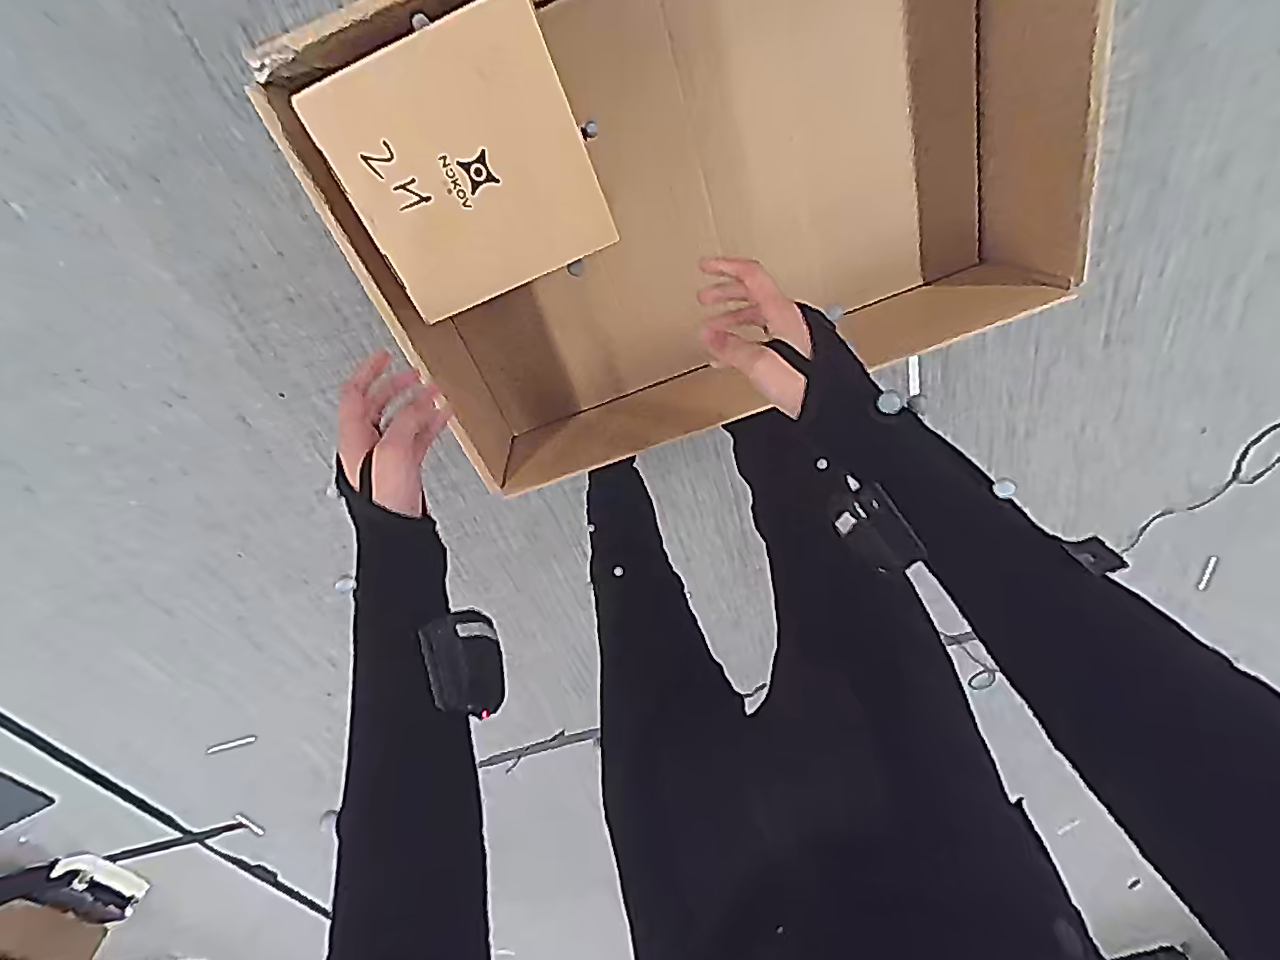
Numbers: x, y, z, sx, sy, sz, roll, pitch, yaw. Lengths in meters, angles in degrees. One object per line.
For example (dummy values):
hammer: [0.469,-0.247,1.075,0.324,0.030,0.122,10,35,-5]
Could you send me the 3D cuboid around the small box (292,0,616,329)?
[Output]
small box: [-0.135,-0.258,0.459,0.179,0.176,0.168,-21,121,7]
